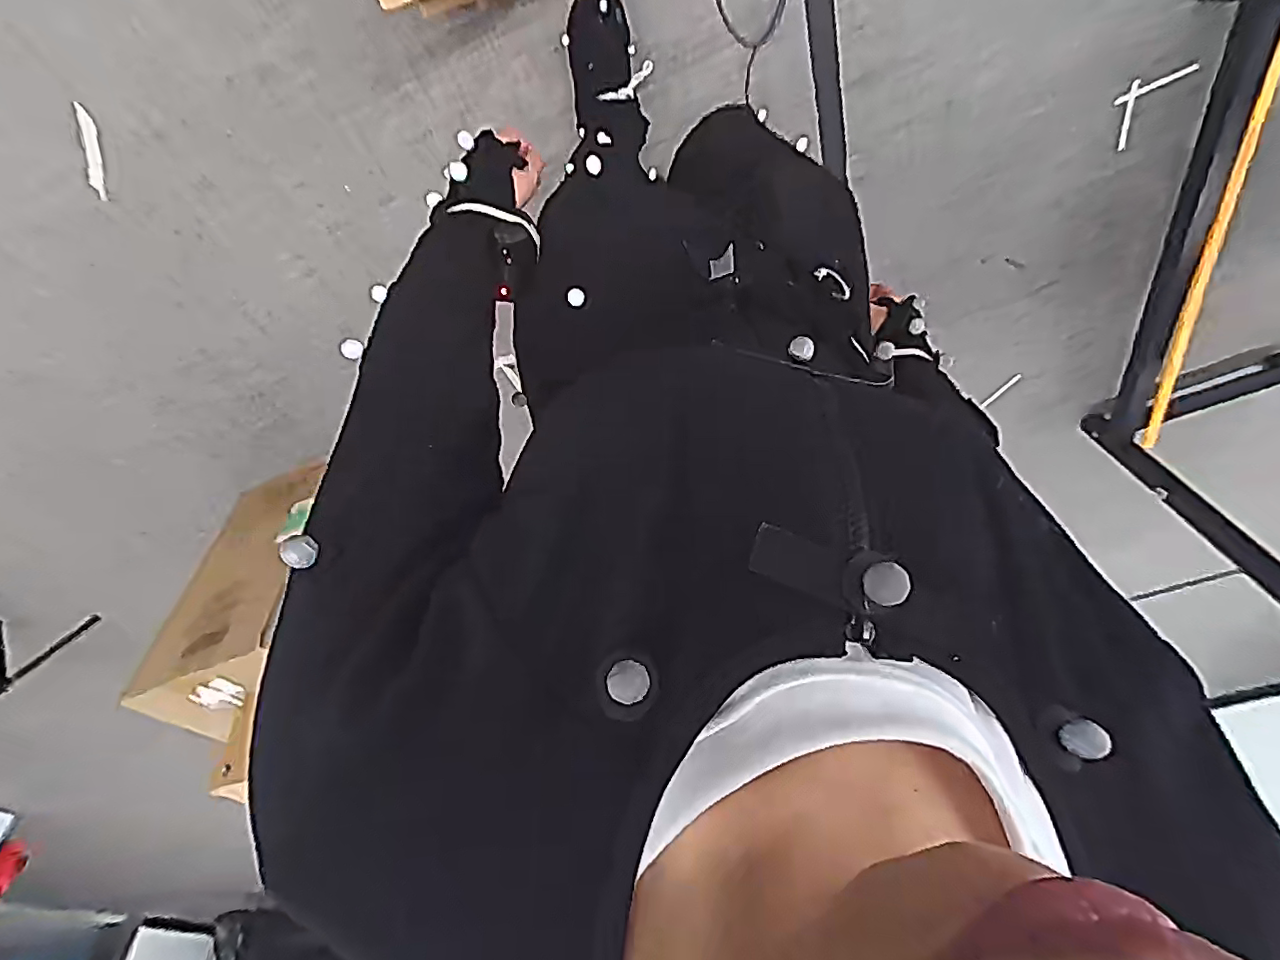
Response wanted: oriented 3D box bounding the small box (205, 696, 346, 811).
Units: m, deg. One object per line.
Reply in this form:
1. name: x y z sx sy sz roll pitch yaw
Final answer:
1. small box: -0.770 0.588 1.170 0.179 0.176 0.168 -19 134 10
